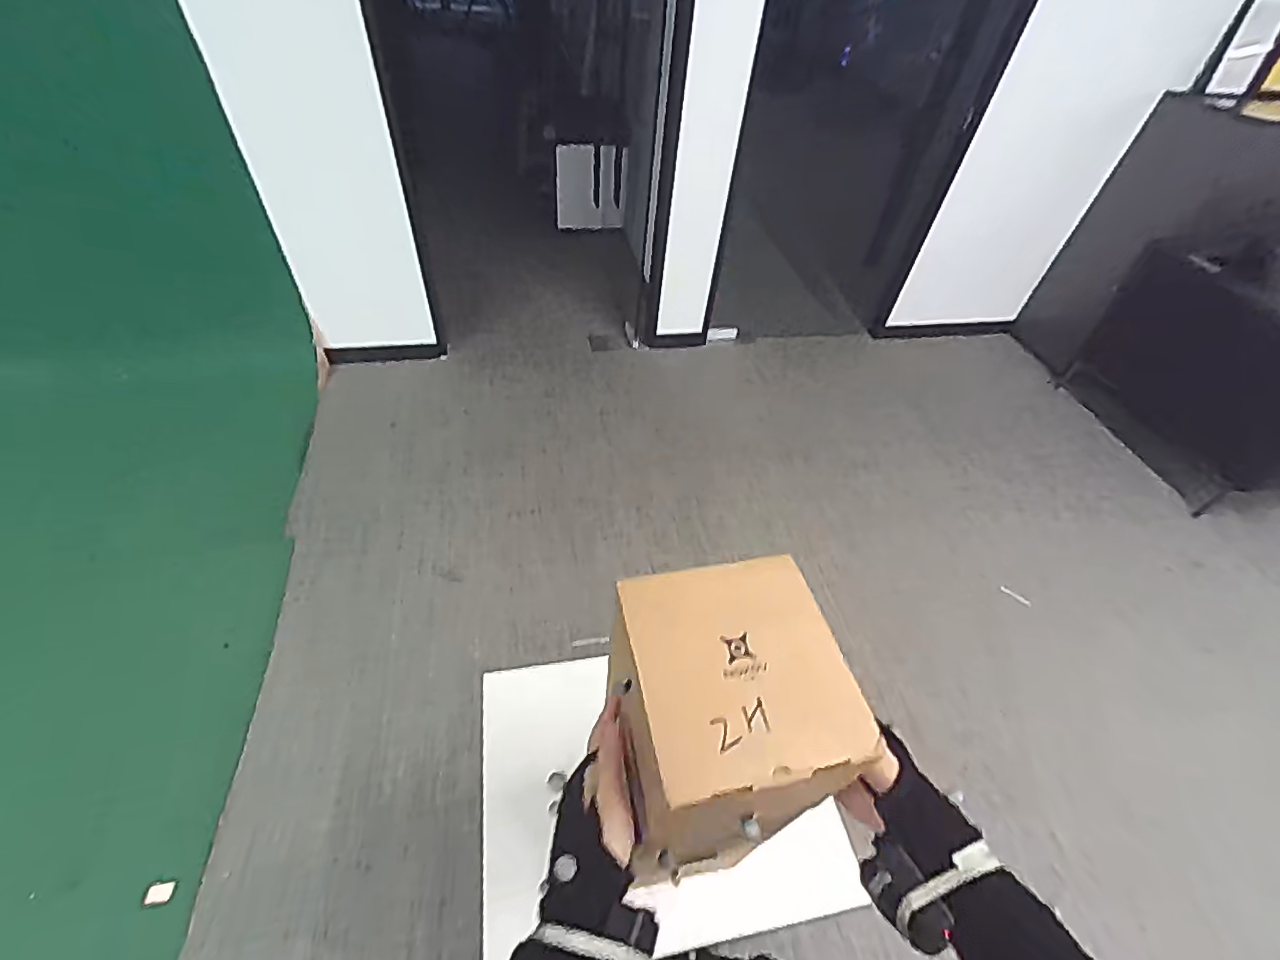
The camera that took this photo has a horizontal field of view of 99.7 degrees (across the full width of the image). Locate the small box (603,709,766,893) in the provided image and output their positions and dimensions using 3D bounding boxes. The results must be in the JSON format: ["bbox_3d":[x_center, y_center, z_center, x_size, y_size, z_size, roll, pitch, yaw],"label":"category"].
[{"bbox_3d":[0.043,0.410,0.711,0.168,0.176,0.179,-5,47,-10],"label":"small box"}]

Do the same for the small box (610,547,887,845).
[{"bbox_3d":[0.069,0.185,0.471,0.168,0.176,0.179,-7,48,-12],"label":"small box"}]
